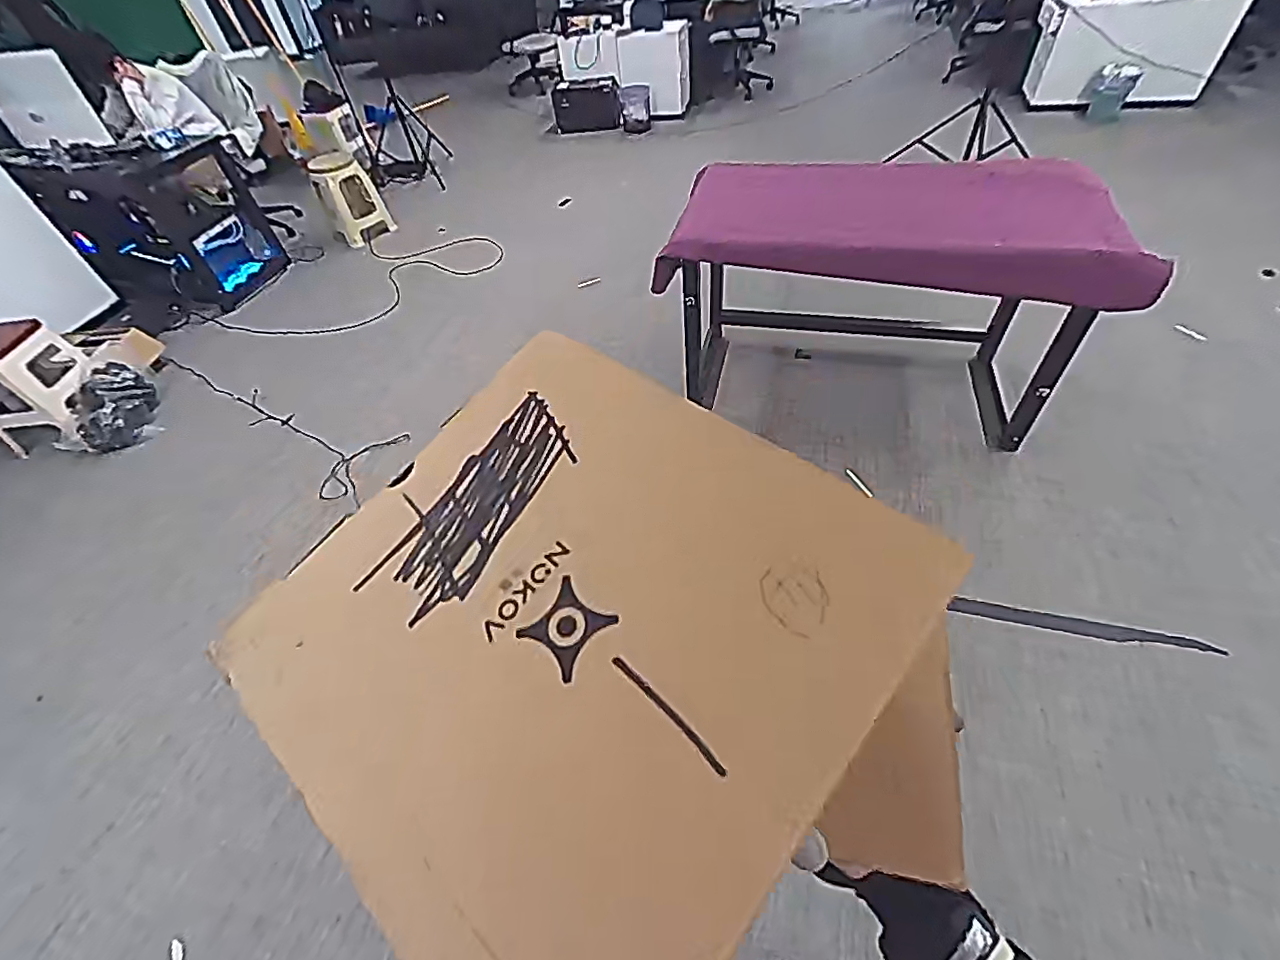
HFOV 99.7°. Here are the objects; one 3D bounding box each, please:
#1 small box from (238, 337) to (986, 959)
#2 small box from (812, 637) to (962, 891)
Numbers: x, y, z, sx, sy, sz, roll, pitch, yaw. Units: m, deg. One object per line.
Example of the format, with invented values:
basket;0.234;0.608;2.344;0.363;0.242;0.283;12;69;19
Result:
small box;-0.005;0.078;0.232;0.179;0.176;0.168;33;73;26
small box;0.097;0.141;0.365;0.168;0.176;0.179;4;60;15
